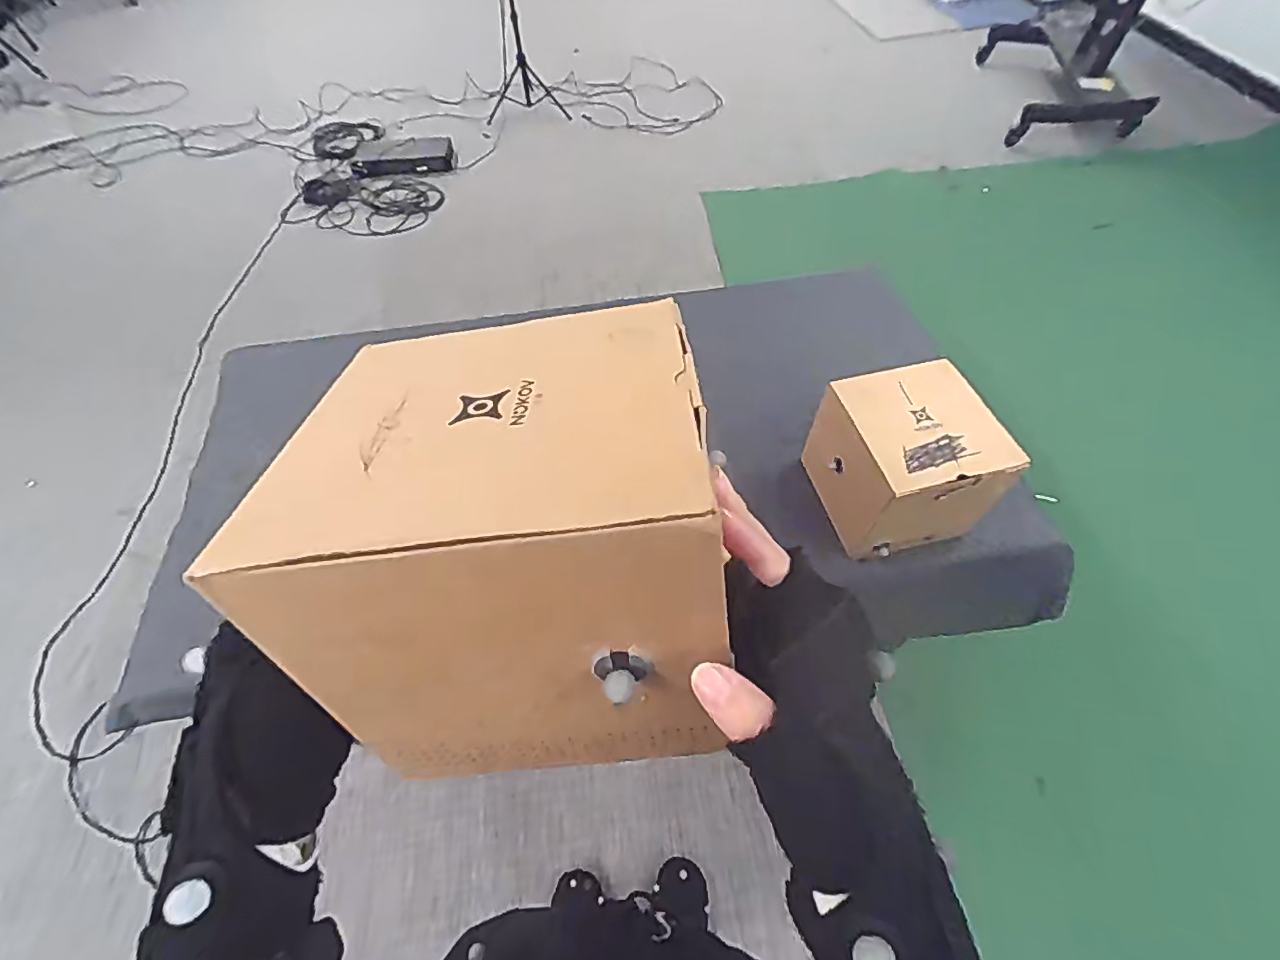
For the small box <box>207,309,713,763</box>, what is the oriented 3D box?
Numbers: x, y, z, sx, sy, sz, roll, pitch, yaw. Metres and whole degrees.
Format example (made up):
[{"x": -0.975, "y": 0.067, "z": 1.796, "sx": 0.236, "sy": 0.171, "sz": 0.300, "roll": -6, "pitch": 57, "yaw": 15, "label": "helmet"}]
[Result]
[{"x": -0.055, "y": 0.030, "z": 0.292, "sx": 0.179, "sy": 0.176, "sz": 0.168, "roll": -7, "pitch": 39, "yaw": 4, "label": "small box"}]

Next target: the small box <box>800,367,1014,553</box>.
[{"x": 0.332, "y": -0.018, "z": 0.717, "sx": 0.168, "sy": 0.176, "sz": 0.179, "roll": -11, "pitch": 56, "yaw": -6, "label": "small box"}]
